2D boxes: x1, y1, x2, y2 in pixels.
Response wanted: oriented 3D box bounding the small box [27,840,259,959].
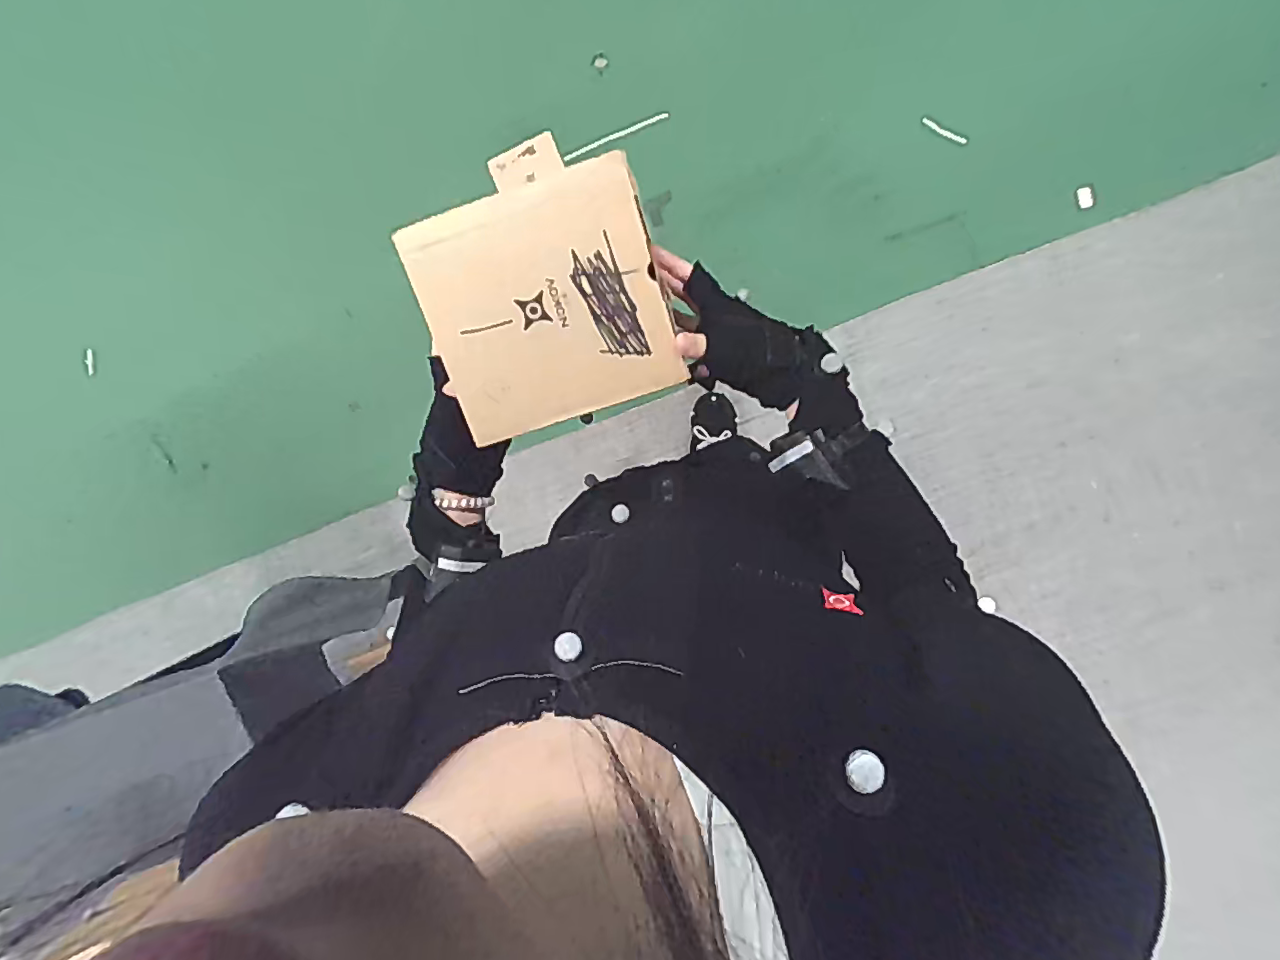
[{"bbox_3d":[-0.744,0.702,0.825,0.179,0.176,0.168,-23,97,7],"label":"small box"}]
